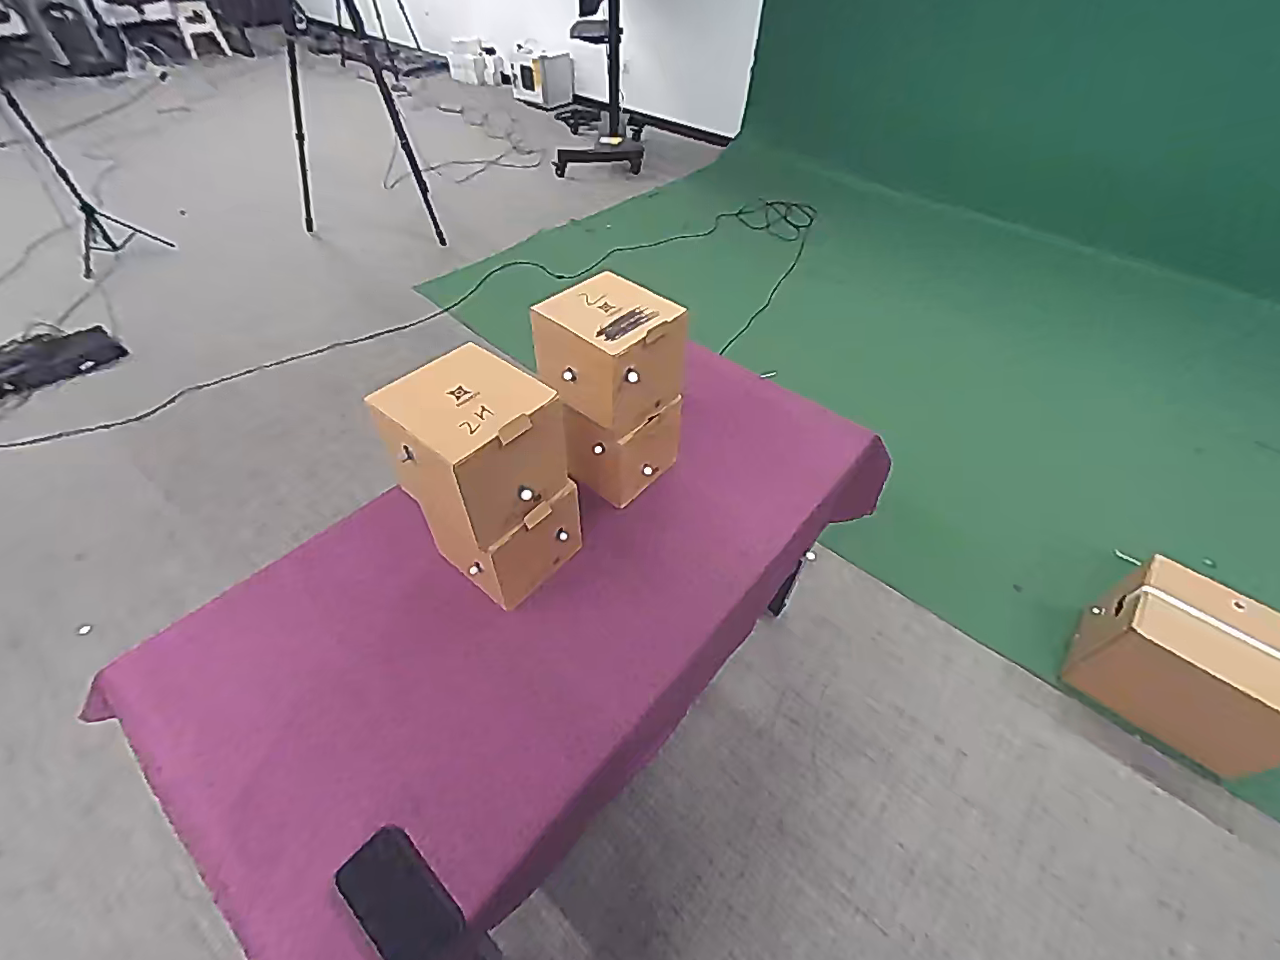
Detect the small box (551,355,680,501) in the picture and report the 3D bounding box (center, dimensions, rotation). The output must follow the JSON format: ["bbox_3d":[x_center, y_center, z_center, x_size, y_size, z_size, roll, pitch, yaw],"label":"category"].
[{"bbox_3d":[-0.051,-0.093,0.990,0.179,0.176,0.168,33,55,23],"label":"small box"}]

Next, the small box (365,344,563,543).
[{"bbox_3d":[-0.223,-0.048,0.723,0.179,0.176,0.168,32,55,24],"label":"small box"}]

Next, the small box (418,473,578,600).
[{"bbox_3d":[-0.213,0.061,0.848,0.179,0.176,0.168,32,54,24],"label":"small box"}]
